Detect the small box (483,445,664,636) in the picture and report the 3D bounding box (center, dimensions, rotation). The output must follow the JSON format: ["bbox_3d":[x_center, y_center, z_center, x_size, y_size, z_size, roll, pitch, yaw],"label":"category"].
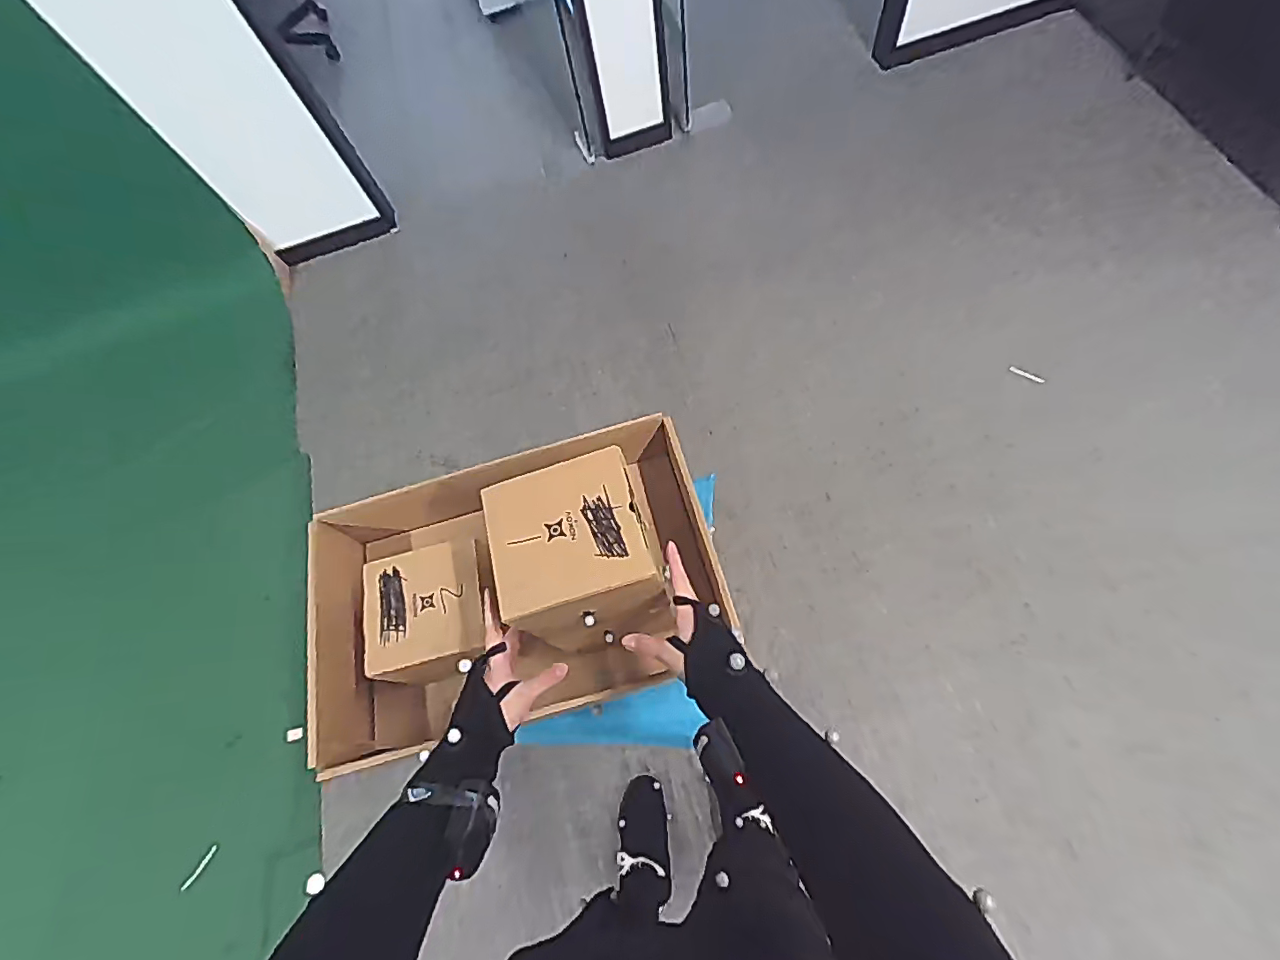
[{"bbox_3d":[-0.073,0.084,0.676,0.179,0.176,0.168,-17,64,2],"label":"small box"}]
